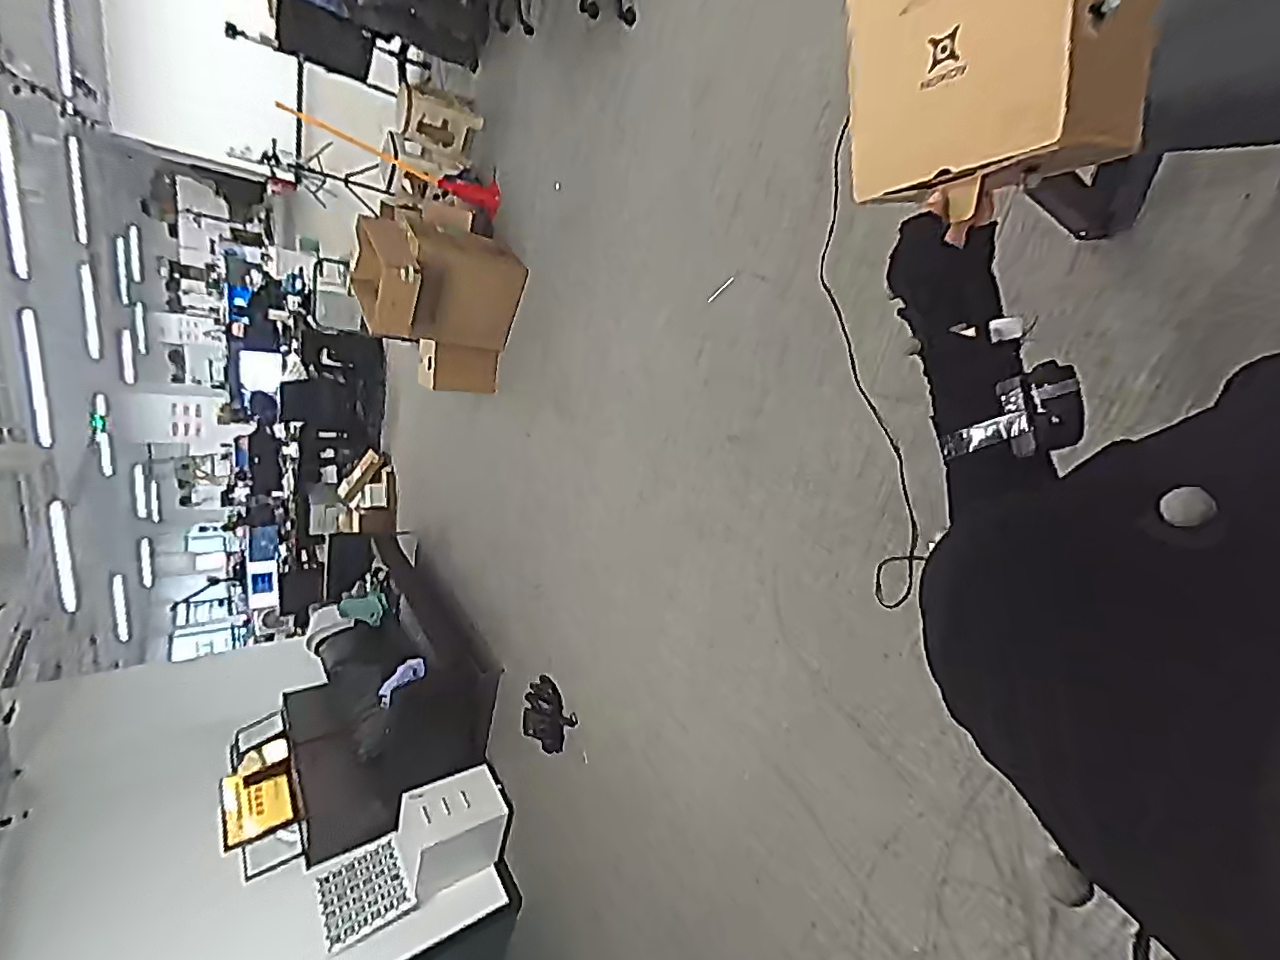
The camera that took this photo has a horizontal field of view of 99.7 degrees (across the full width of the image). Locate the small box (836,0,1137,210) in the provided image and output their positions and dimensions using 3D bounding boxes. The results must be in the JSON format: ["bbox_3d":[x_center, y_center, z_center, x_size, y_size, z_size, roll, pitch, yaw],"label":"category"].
[{"bbox_3d":[0.291,-0.347,0.459,0.168,0.176,0.179,12,117,53],"label":"small box"}]
